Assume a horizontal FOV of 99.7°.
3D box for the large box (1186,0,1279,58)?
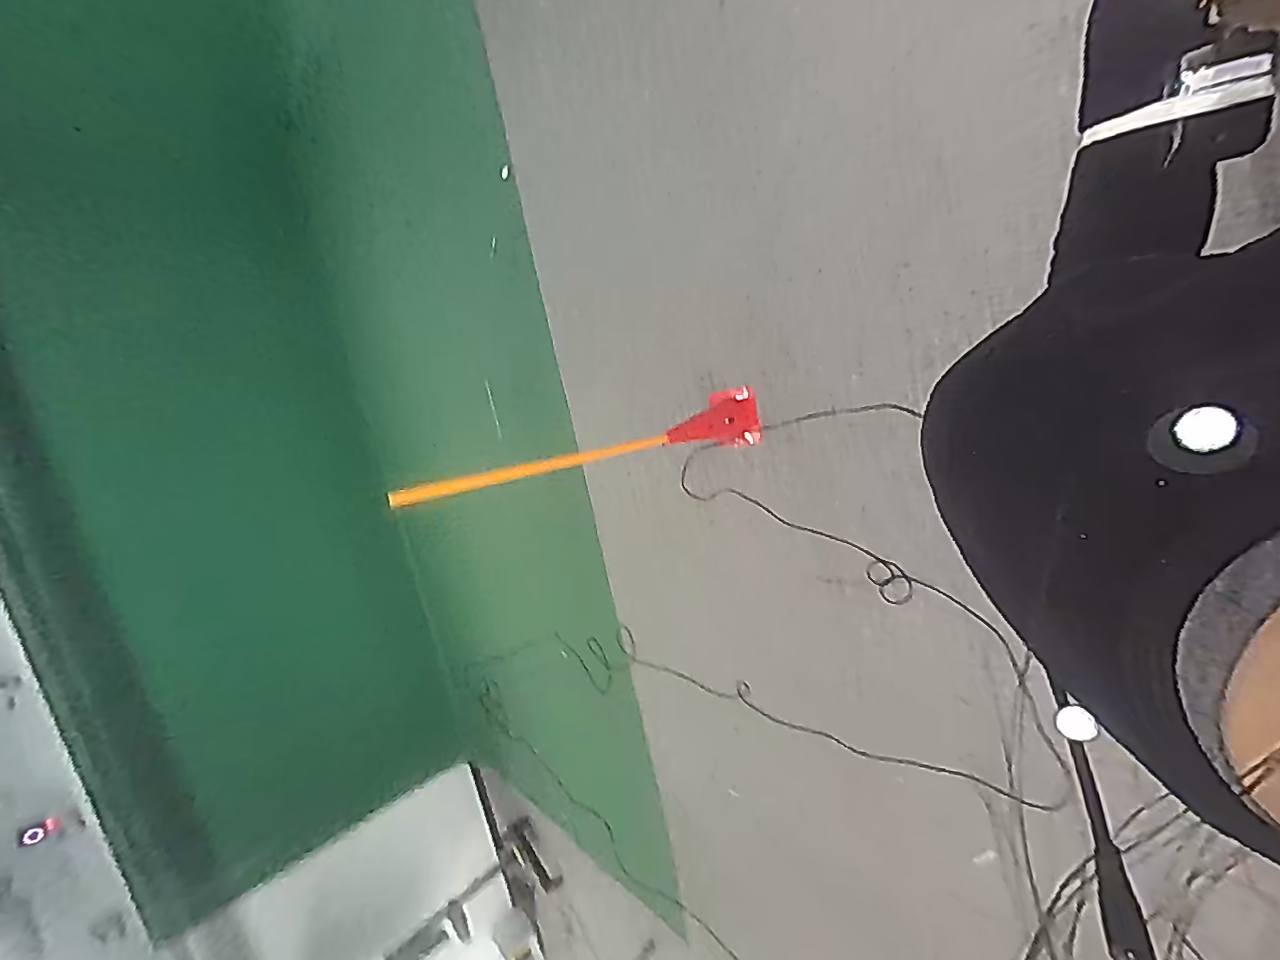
[{"bbox_3d":[0.550,-0.416,0.201,0.408,0.320,0.320,22,125,46],"label":"large box"}]
